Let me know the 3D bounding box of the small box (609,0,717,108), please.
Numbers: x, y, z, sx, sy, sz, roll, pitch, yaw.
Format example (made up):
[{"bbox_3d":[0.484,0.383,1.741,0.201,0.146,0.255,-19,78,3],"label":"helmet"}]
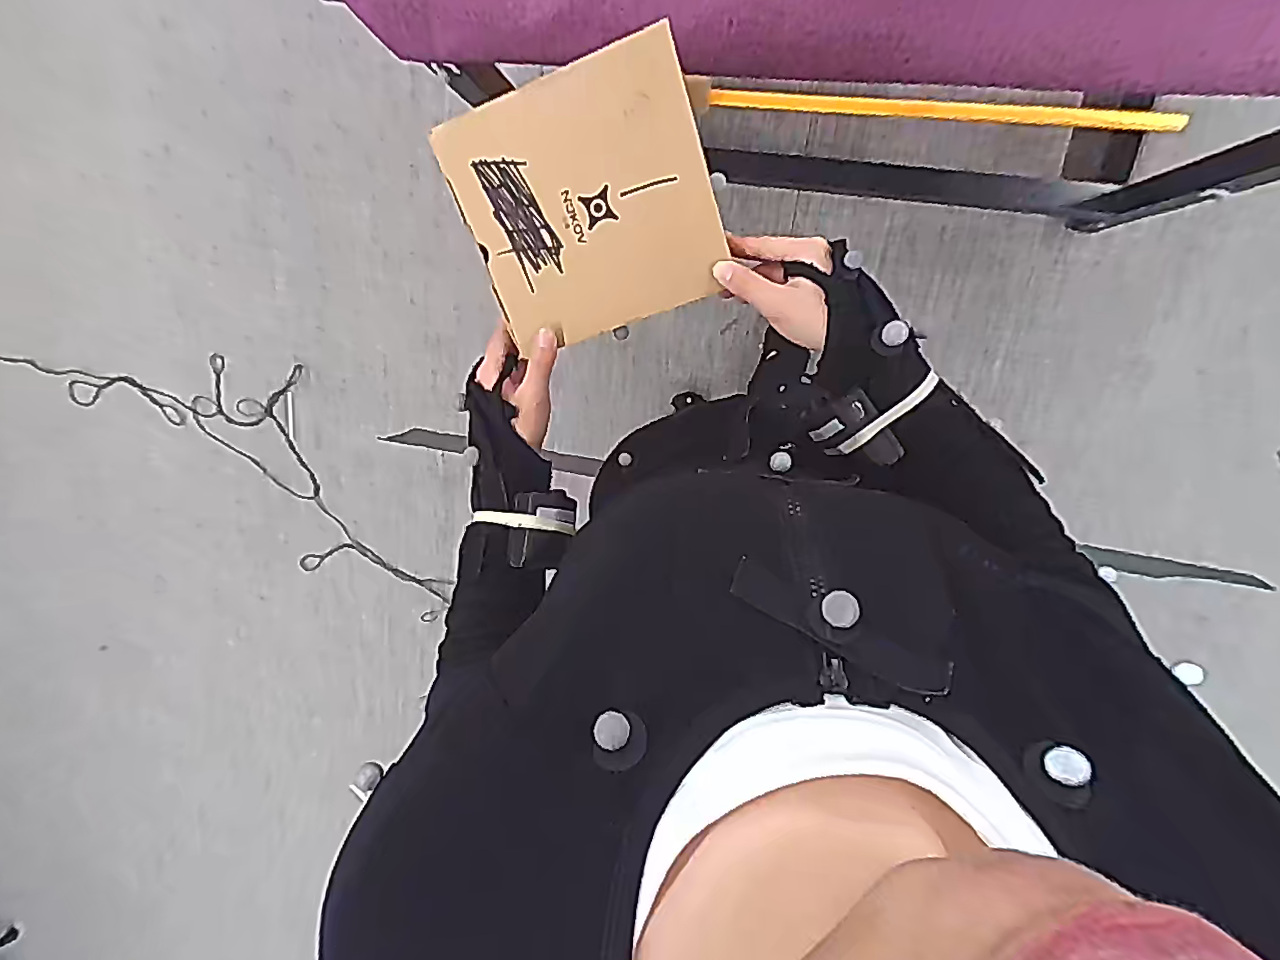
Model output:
[{"bbox_3d":[0.044,-0.794,0.982,0.179,0.176,0.168,8,108,6],"label":"small box"}]

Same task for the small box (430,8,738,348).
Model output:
[{"bbox_3d":[-0.029,-0.223,0.444,0.179,0.176,0.168,-16,111,11],"label":"small box"}]
